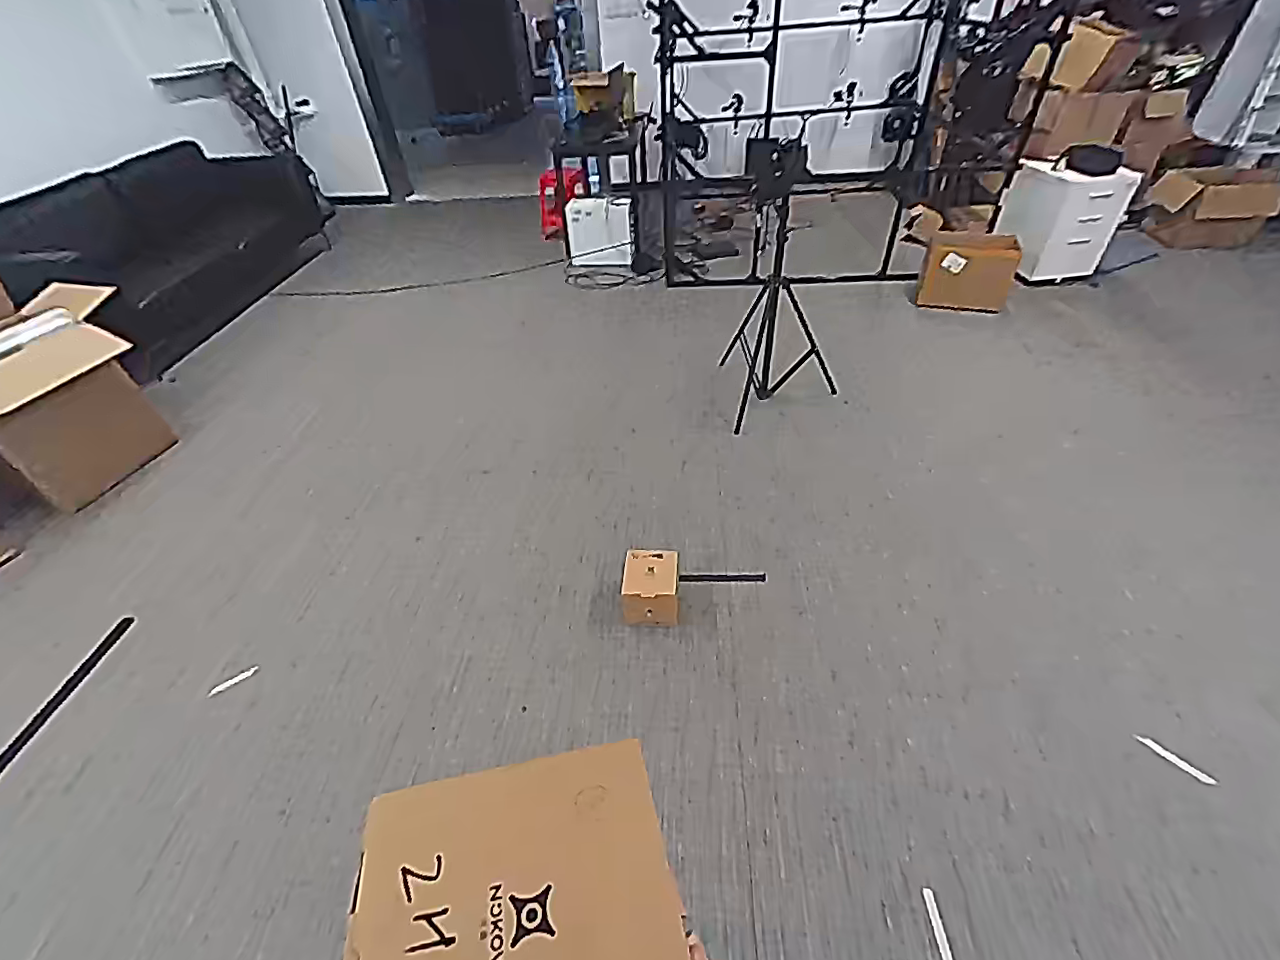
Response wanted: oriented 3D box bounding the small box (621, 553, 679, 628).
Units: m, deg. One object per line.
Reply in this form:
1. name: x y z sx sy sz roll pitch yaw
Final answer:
1. small box: 0.037 0.356 1.730 0.168 0.176 0.179 1 43 6

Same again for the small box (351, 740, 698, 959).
1. small box: -0.065 0.298 0.339 0.179 0.176 0.168 -8 37 -10
